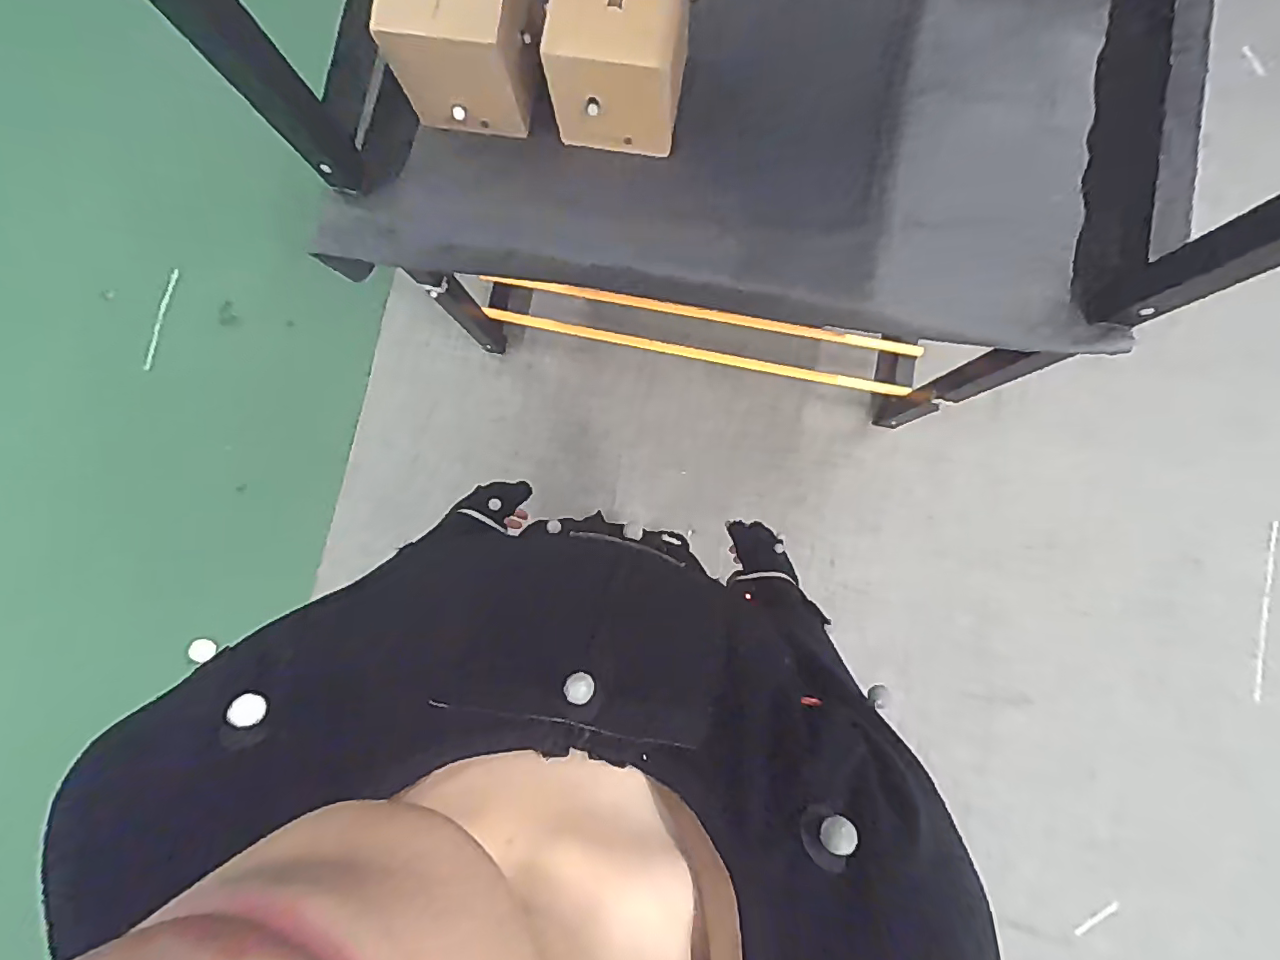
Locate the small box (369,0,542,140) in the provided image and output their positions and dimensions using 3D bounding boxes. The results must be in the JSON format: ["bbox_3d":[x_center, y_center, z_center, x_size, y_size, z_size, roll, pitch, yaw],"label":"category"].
[{"bbox_3d":[-0.241,-0.622,0.755,0.168,0.176,0.179,9,86,3],"label":"small box"}]
